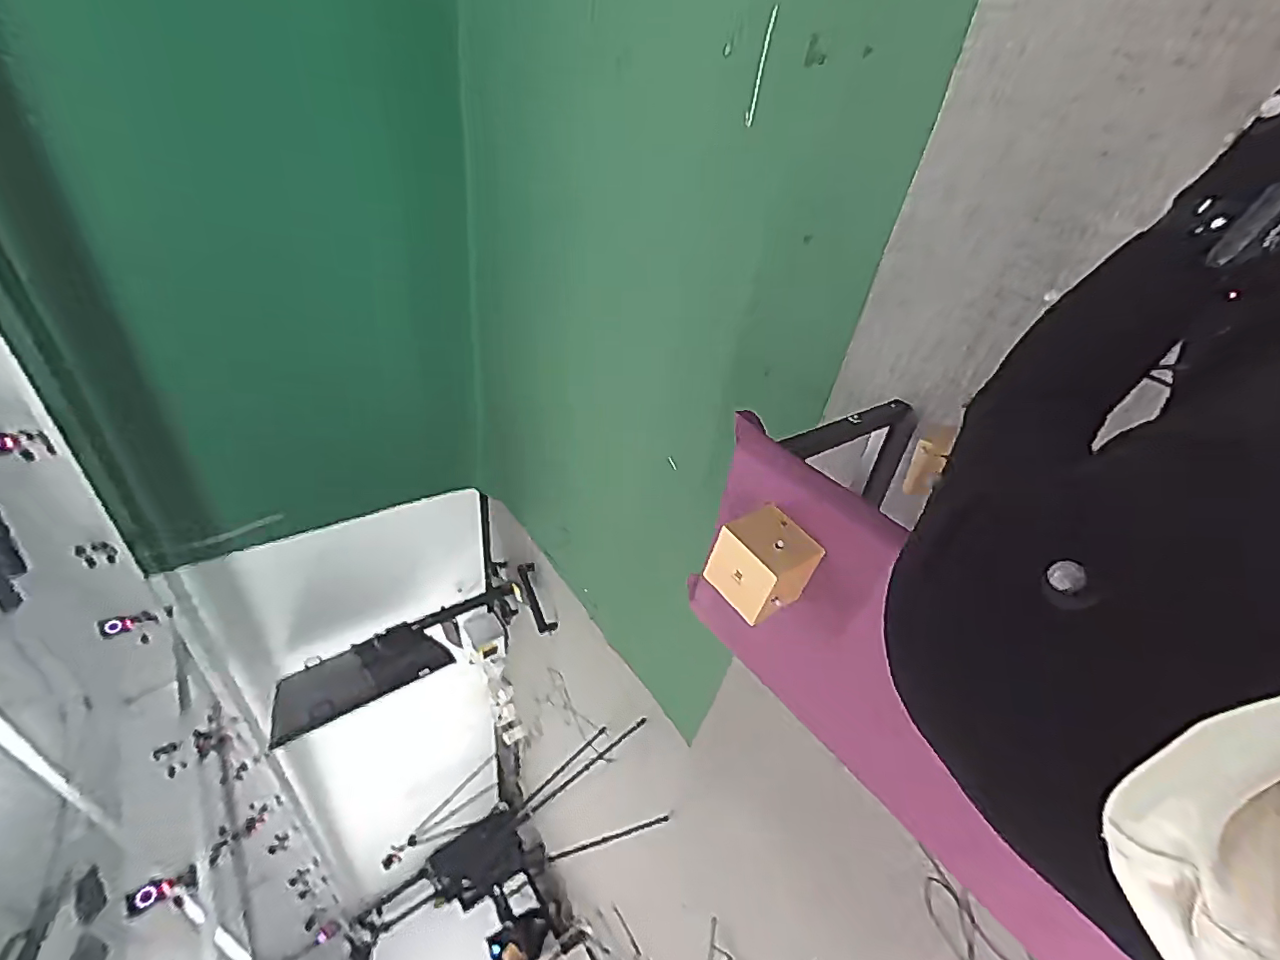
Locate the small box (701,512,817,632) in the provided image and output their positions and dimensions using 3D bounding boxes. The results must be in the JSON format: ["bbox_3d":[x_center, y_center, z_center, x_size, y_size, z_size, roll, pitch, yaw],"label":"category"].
[{"bbox_3d":[0.269,0.200,1.216,0.168,0.176,0.179,45,140,32],"label":"small box"}]

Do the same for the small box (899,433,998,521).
[{"bbox_3d":[0.883,-0.014,1.546,0.168,0.176,0.179,35,132,42],"label":"small box"}]
